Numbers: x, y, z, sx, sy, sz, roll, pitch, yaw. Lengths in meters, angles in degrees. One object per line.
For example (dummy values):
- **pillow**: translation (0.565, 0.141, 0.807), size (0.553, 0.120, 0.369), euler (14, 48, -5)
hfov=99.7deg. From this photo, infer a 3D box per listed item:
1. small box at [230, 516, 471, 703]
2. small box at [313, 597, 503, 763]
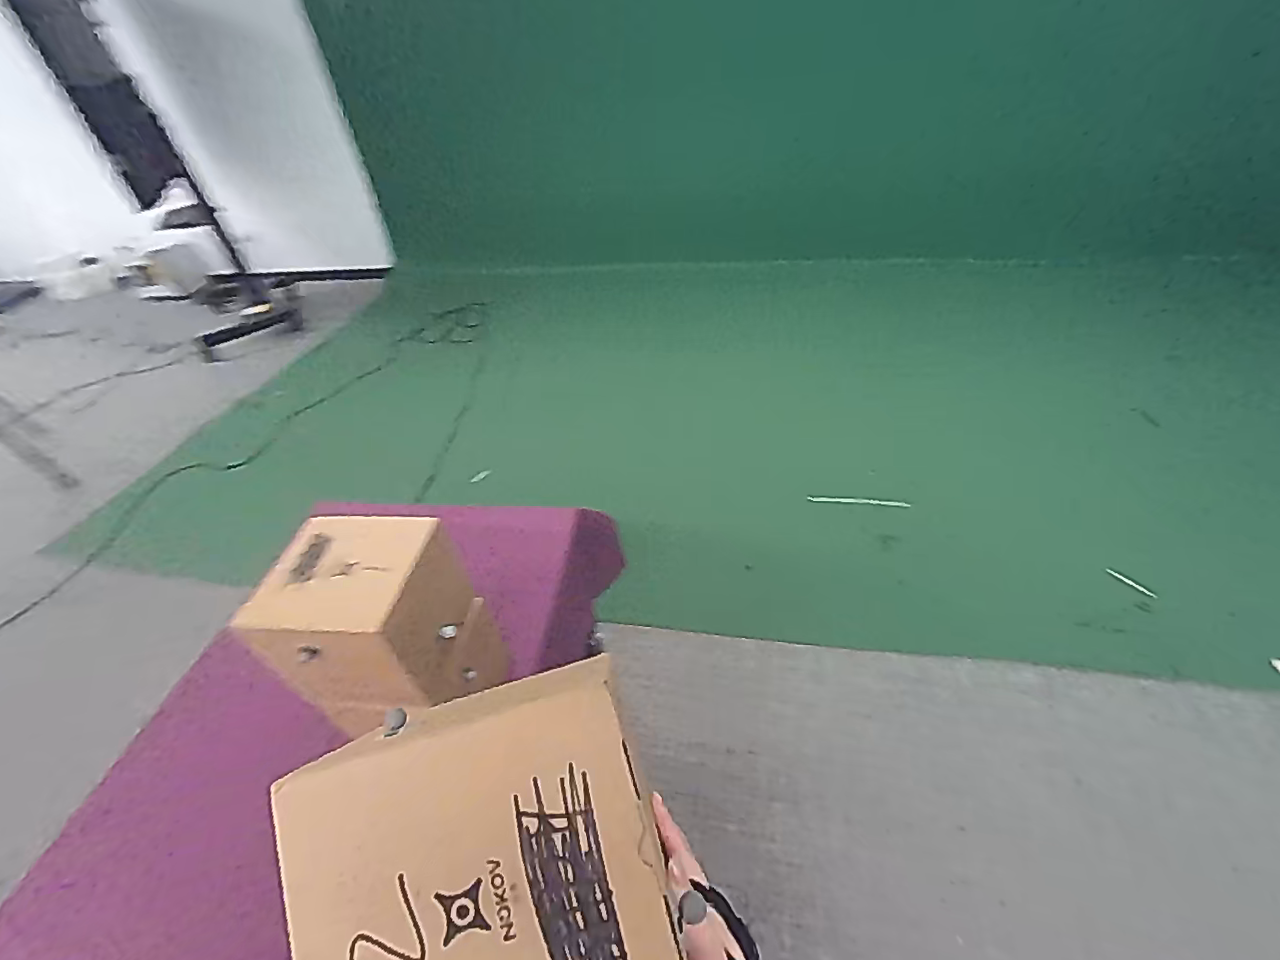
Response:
- **small box**: translation (-0.340, 0.162, 0.677), size (0.179, 0.176, 0.168), euler (0, 42, 8)
- **small box**: translation (-0.316, 0.285, 0.783), size (0.168, 0.176, 0.179), euler (2, 41, 10)
